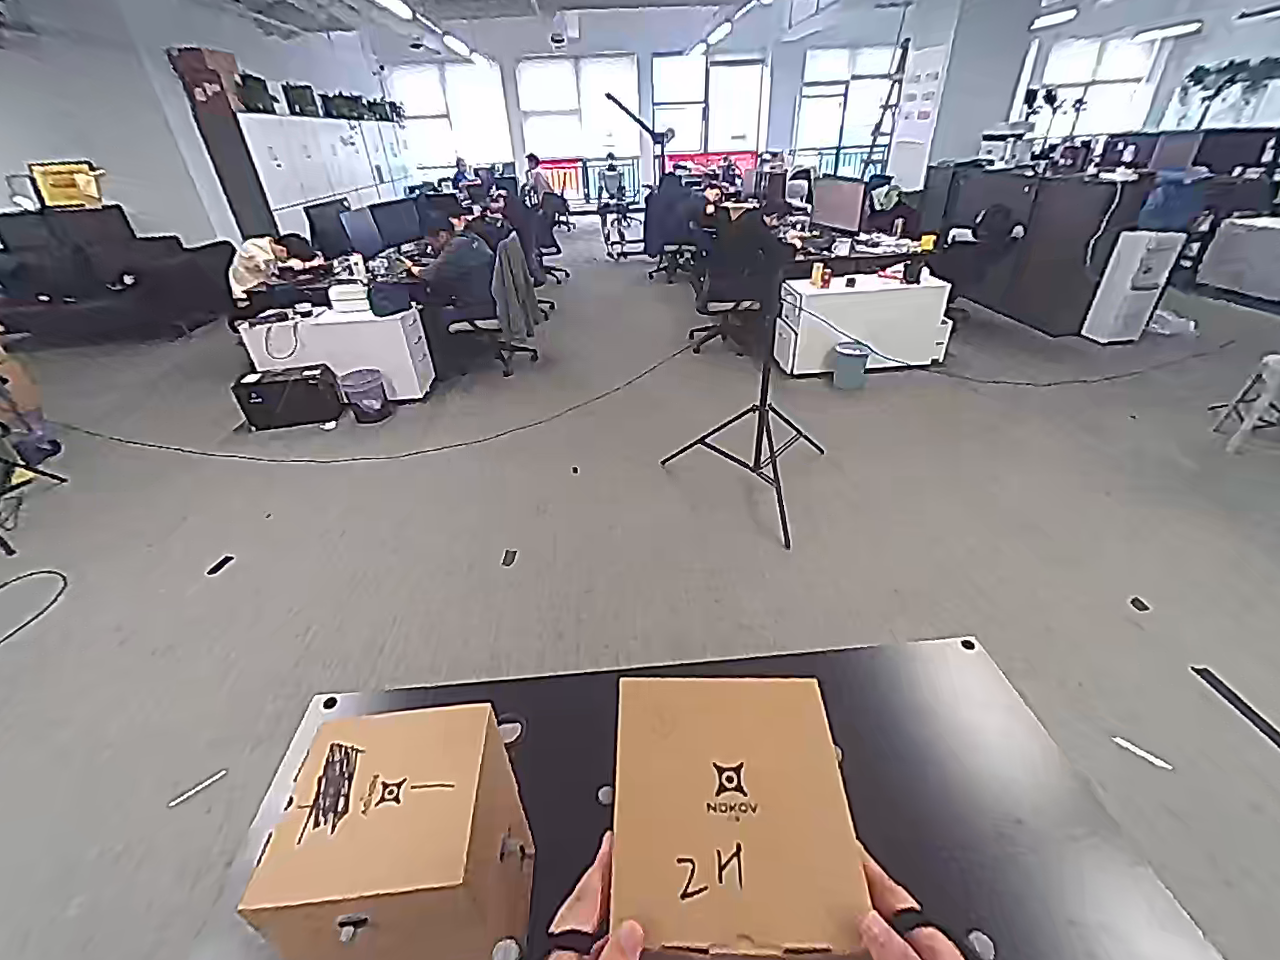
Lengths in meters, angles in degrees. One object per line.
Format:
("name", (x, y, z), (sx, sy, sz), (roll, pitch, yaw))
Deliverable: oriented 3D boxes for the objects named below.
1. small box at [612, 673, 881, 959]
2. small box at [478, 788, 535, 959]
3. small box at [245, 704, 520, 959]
("small box", (0.067, 0.281, 0.441), (0.168, 0.176, 0.179), (0, 42, 2))
("small box", (-0.219, 0.489, 0.624), (0.168, 0.176, 0.179), (-5, 33, -2))
("small box", (-0.227, 0.352, 0.534), (0.179, 0.176, 0.168), (-5, 32, -3))
